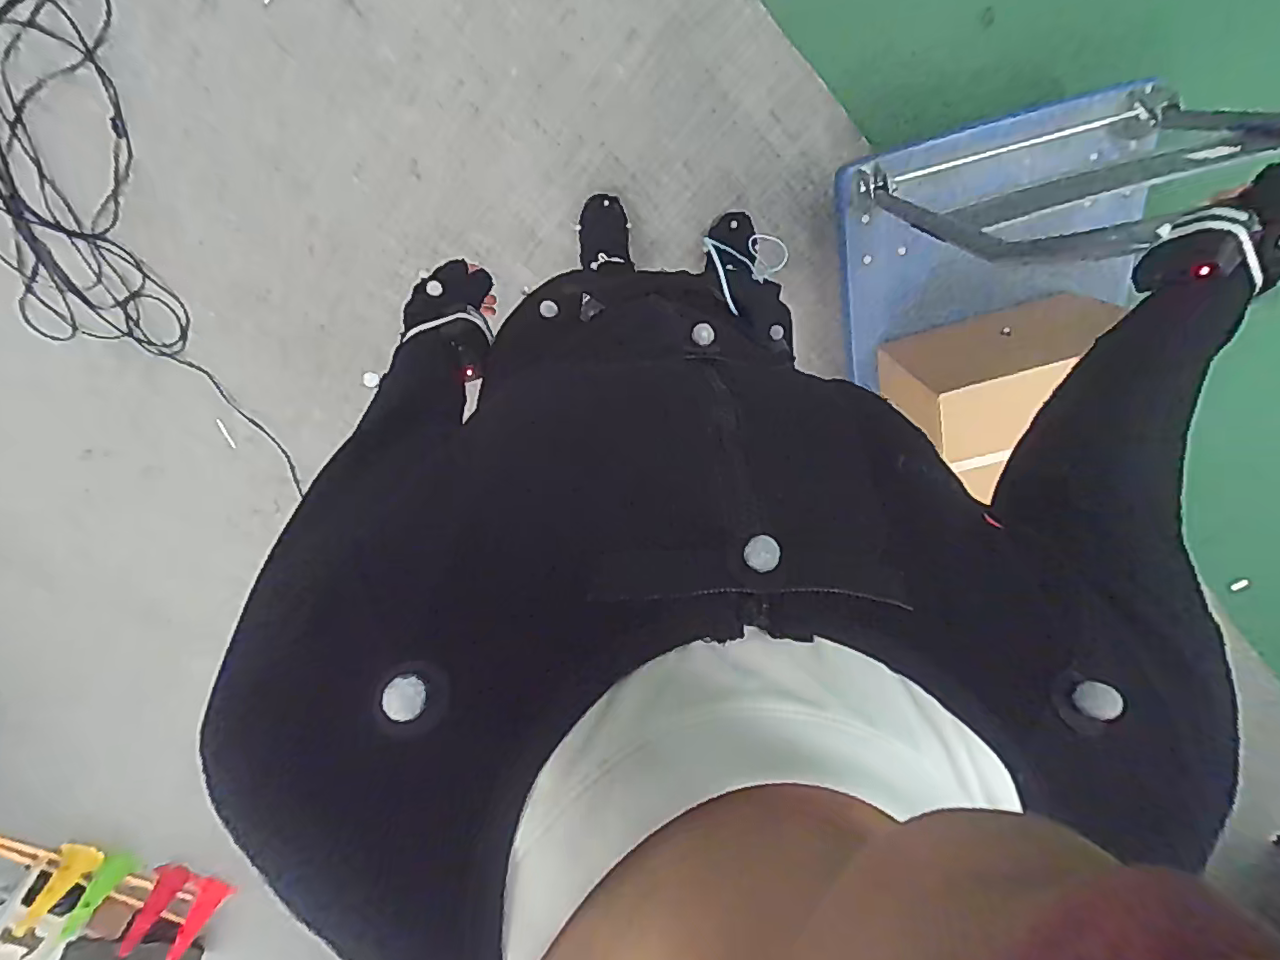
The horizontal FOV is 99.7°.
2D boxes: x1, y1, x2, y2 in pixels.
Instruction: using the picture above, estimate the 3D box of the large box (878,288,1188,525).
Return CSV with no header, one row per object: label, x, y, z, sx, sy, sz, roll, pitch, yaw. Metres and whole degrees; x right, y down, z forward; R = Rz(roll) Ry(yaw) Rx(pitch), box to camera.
large box,0.766,-0.160,1.120,0.408,0.320,0.320,-16,119,10
